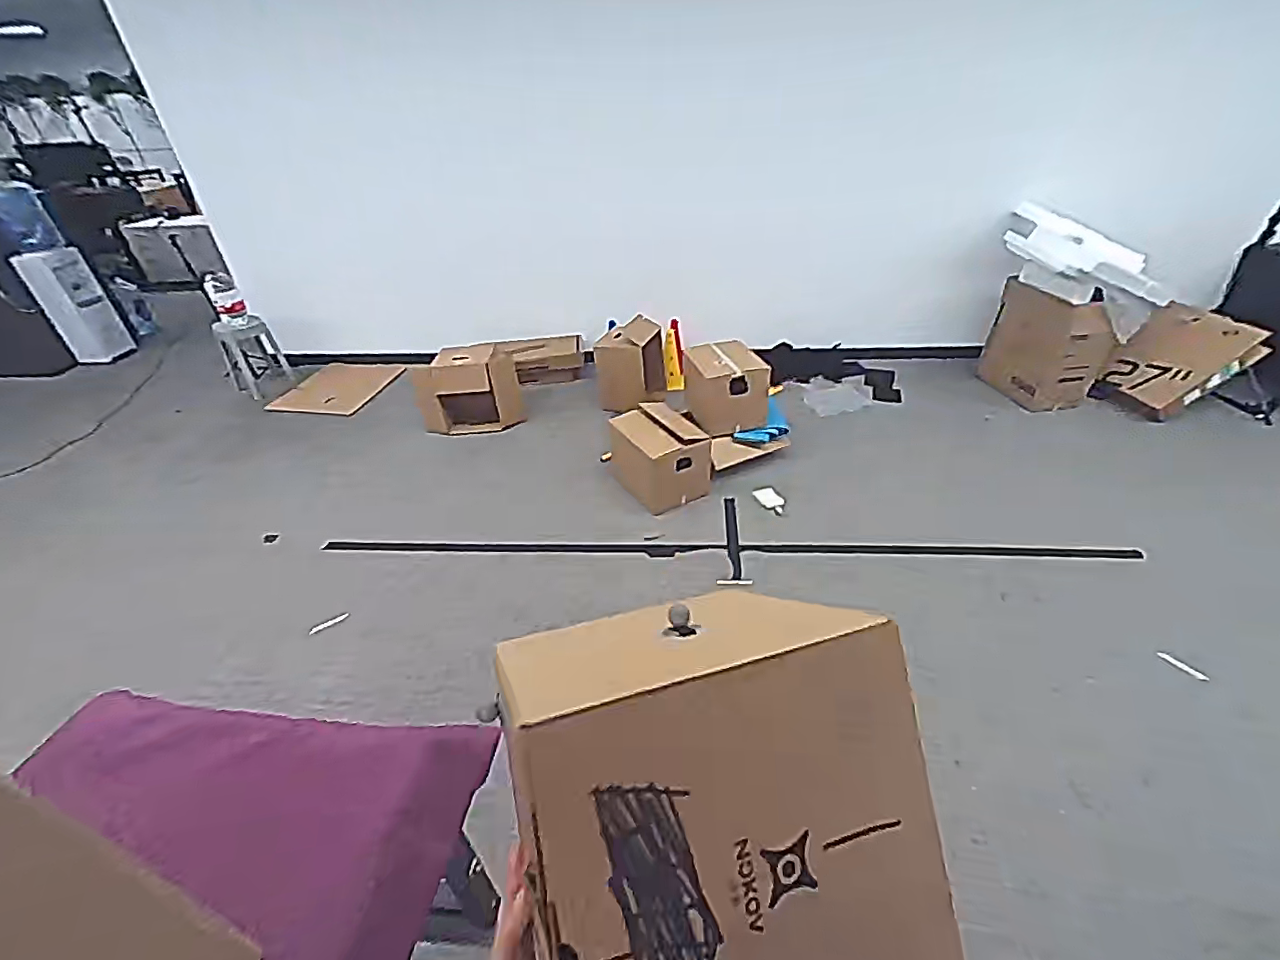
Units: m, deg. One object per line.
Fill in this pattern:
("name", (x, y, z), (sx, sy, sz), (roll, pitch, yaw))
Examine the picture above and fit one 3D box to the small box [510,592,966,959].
("small box", (0.028, 0.160, 0.295), (0.179, 0.168, 0.176), (-7, -5, -20))
